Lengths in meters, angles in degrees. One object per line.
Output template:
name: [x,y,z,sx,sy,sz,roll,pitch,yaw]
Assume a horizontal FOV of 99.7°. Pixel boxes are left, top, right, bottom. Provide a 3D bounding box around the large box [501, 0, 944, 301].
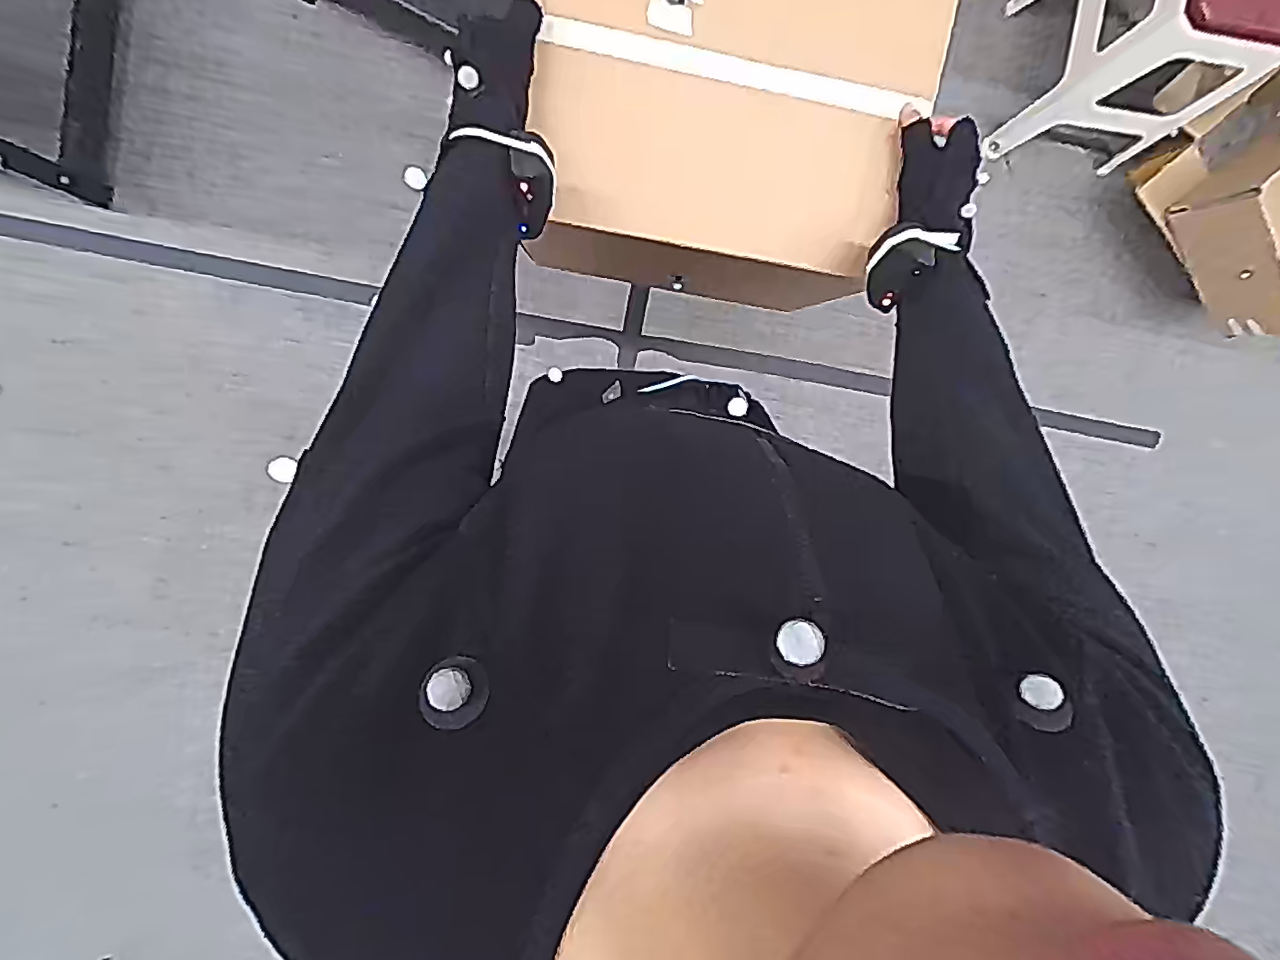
large box: [0.072,-0.419,0.664,0.408,0.320,0.320,8,101,-6]
